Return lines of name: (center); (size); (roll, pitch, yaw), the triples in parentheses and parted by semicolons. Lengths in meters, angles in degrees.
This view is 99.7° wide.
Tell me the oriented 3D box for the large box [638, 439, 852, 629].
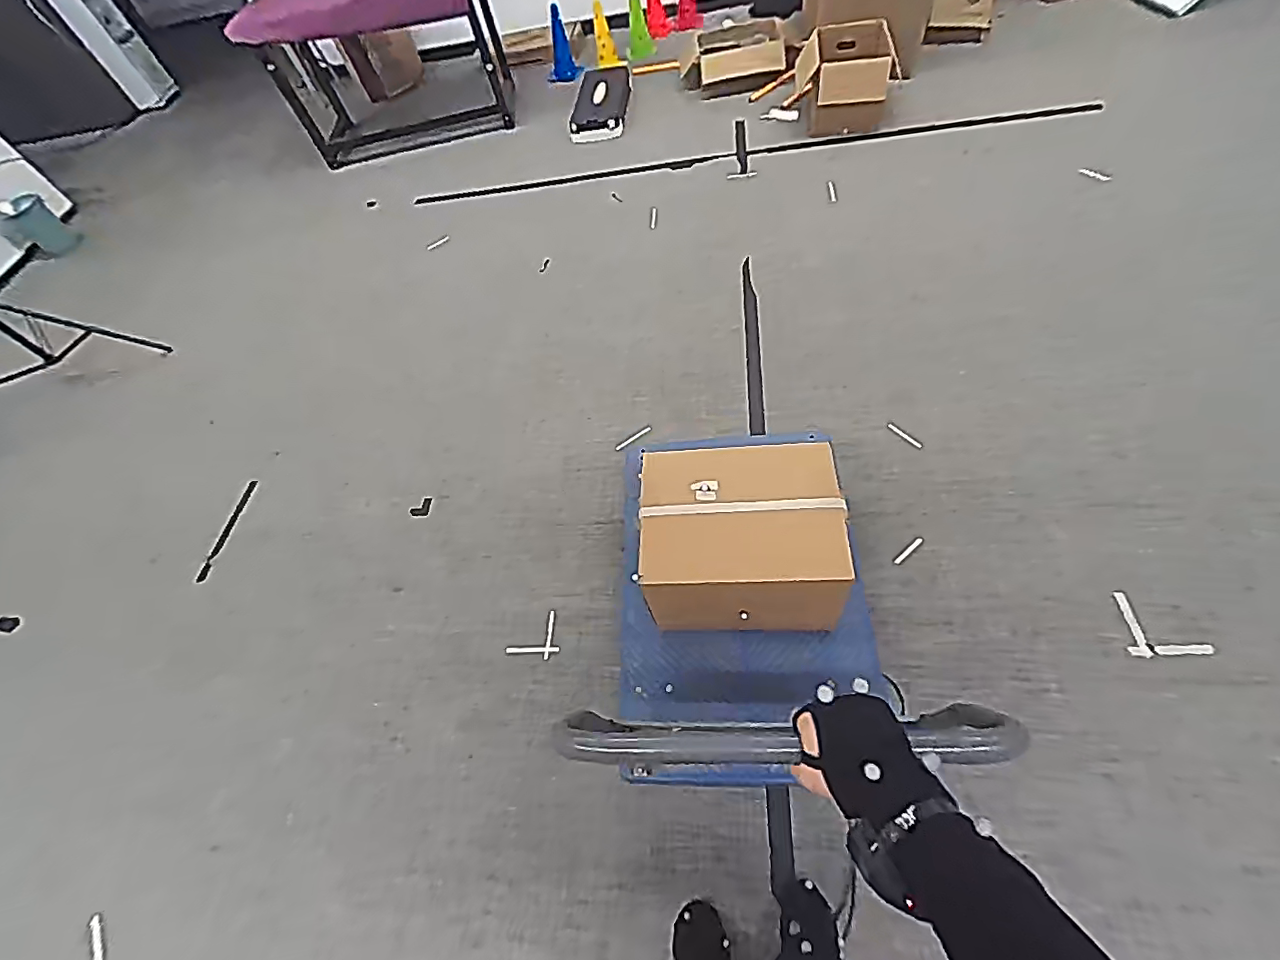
large box: (0.221, 0.136, 1.213); (0.408, 0.320, 0.320); (-4, 56, 10)
